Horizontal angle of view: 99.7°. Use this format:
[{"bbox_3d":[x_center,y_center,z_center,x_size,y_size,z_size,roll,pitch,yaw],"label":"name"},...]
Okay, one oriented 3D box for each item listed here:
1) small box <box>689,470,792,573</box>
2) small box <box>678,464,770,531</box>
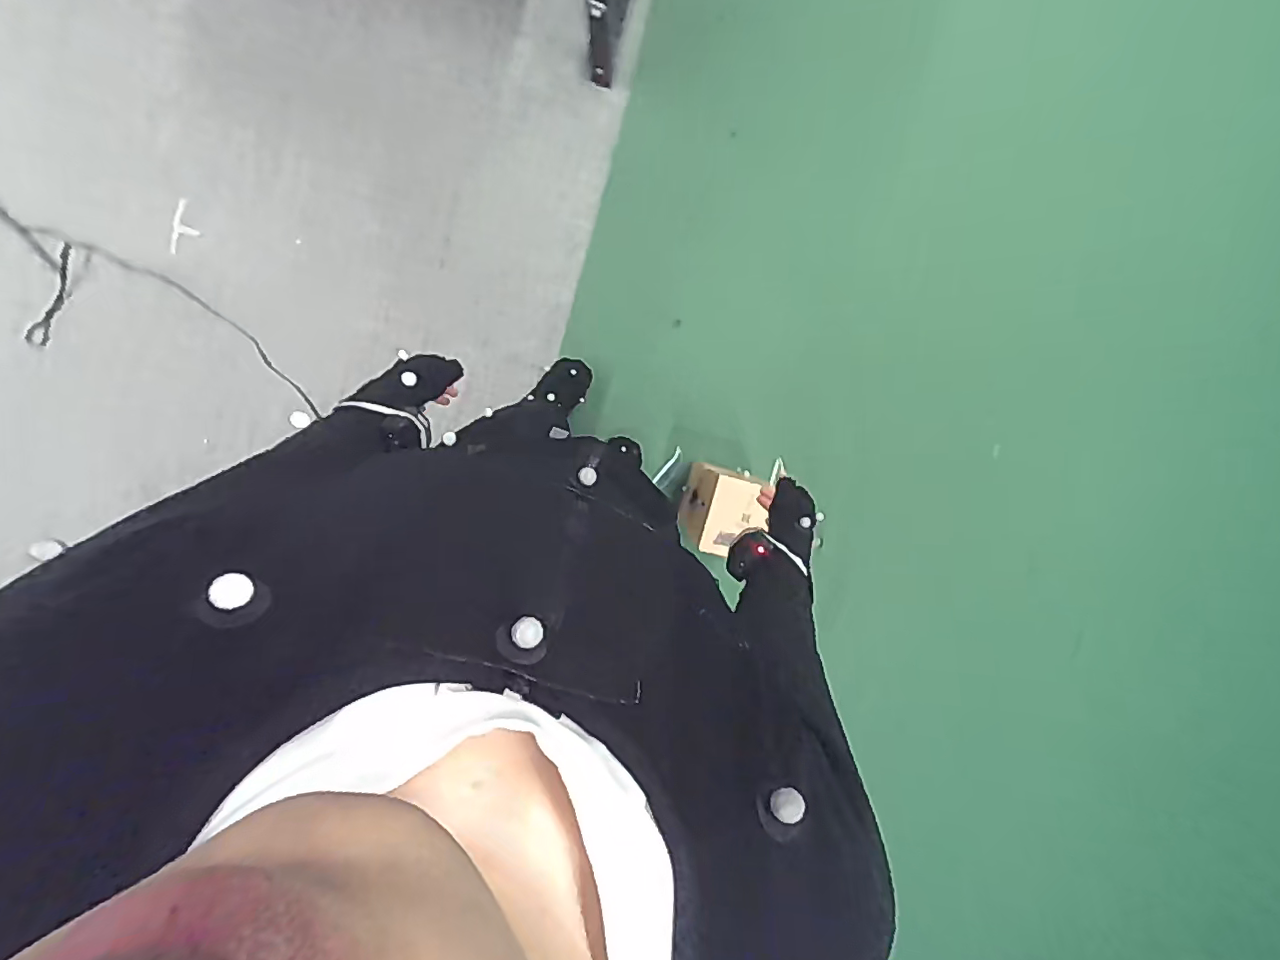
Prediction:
[{"bbox_3d":[0.222,0.089,1.250,0.168,0.176,0.179,19,96,-7],"label":"small box"},{"bbox_3d":[0.212,0.061,1.415,0.179,0.176,0.168,16,95,-4],"label":"small box"}]
